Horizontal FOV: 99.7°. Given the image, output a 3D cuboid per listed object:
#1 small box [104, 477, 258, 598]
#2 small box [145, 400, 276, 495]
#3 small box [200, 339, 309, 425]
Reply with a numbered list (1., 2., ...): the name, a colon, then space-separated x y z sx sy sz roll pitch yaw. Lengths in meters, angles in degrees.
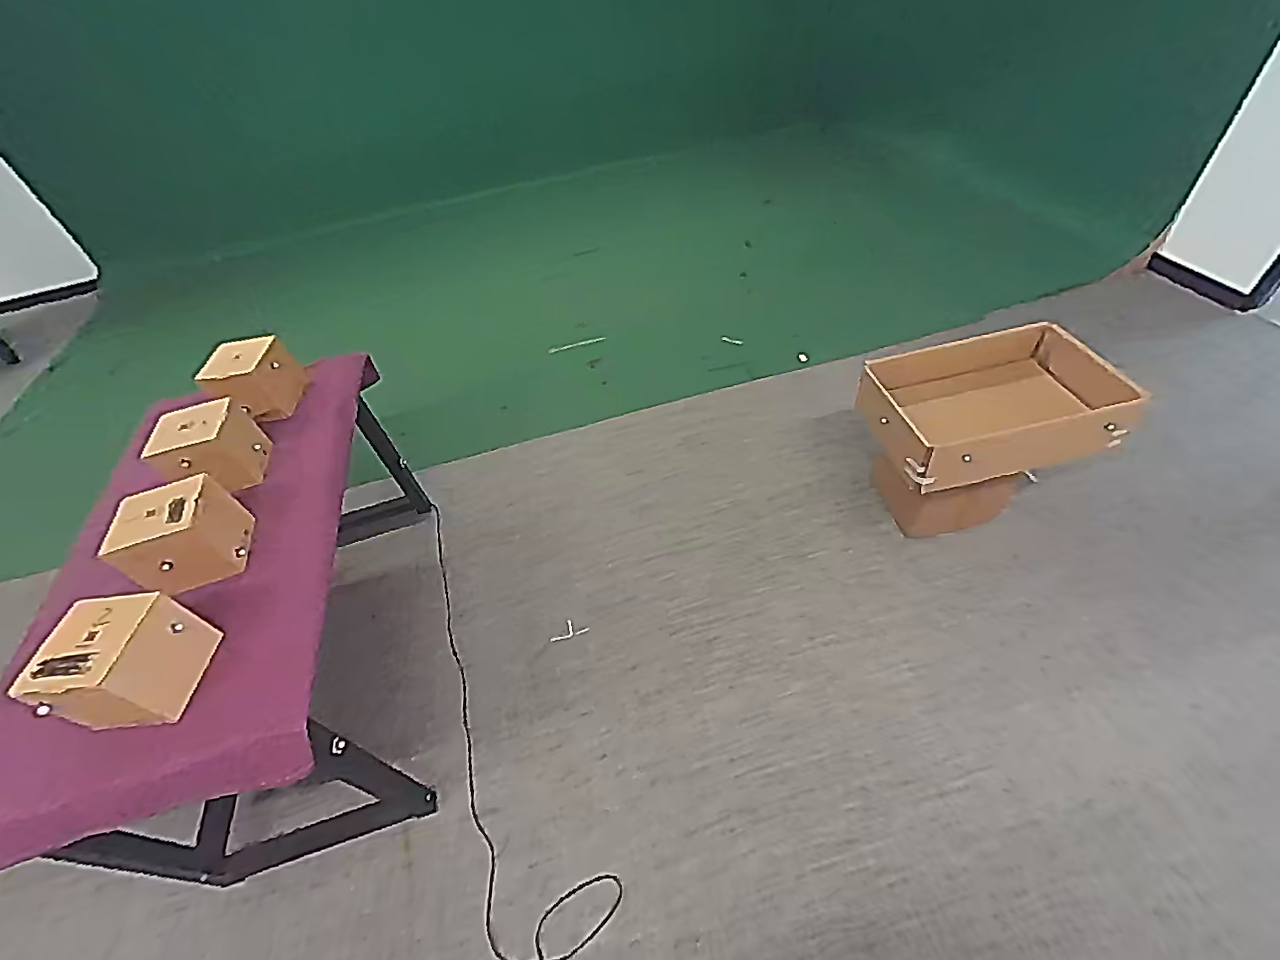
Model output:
1. small box: -0.978 0.127 1.174 0.179 0.176 0.168 -19 48 -6
2. small box: -1.070 -0.069 1.364 0.179 0.176 0.168 -17 49 -4
3. small box: -1.094 -0.279 1.556 0.168 0.176 0.179 -9 49 3
